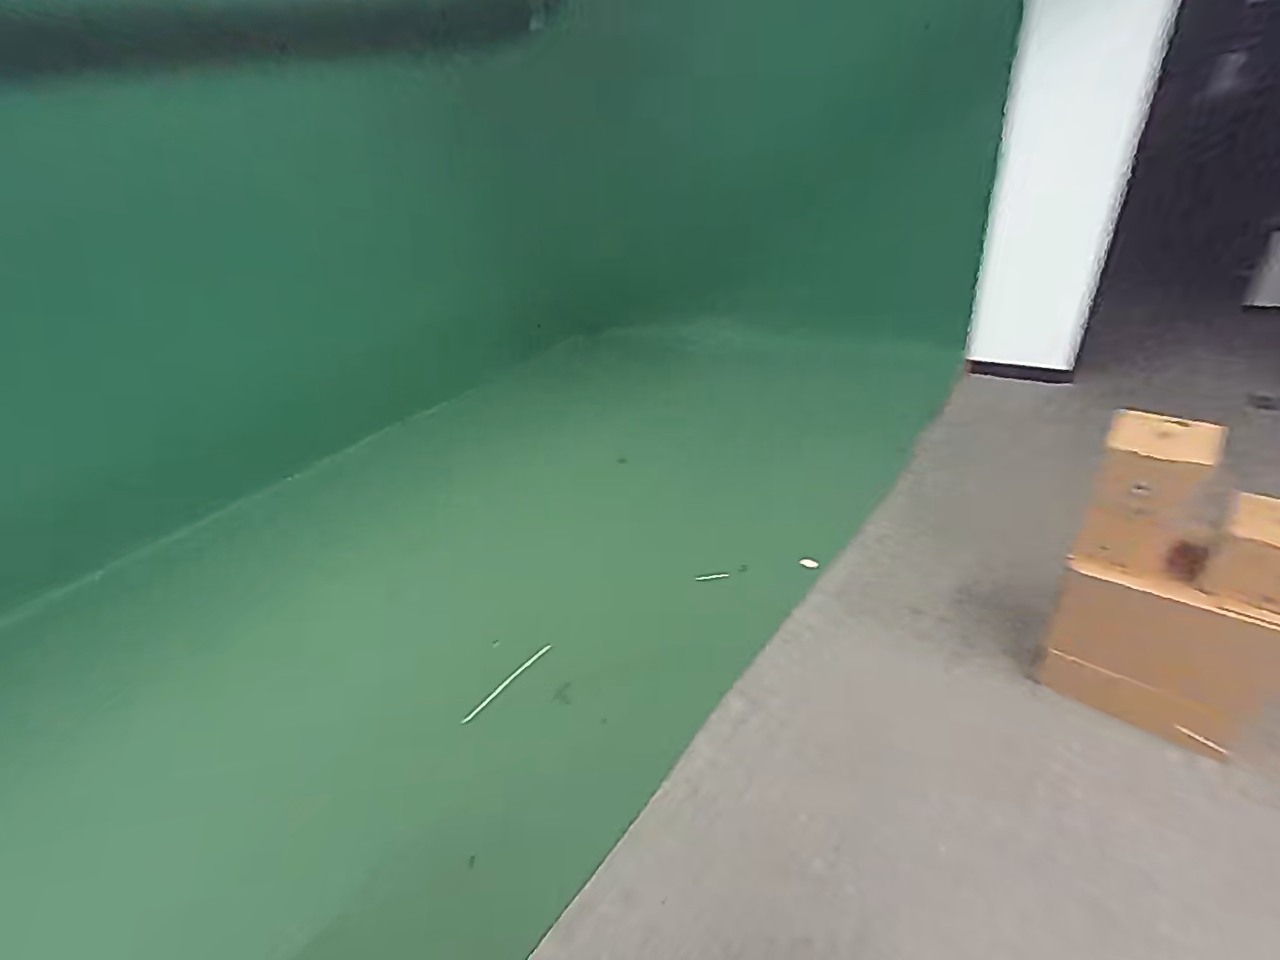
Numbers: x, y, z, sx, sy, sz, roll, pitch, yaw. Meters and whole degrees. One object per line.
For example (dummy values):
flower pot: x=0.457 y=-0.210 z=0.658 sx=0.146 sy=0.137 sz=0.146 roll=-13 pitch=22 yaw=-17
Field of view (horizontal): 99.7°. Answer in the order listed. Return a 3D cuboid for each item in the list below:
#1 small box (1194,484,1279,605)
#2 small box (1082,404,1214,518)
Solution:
small box: x=1.335 y=0.141 z=1.157 sx=0.168 sy=0.176 sz=0.179 roll=22 pitch=46 yaw=41
small box: x=1.119 y=-0.042 z=1.201 sx=0.168 sy=0.176 sz=0.179 roll=22 pitch=49 yaw=38
